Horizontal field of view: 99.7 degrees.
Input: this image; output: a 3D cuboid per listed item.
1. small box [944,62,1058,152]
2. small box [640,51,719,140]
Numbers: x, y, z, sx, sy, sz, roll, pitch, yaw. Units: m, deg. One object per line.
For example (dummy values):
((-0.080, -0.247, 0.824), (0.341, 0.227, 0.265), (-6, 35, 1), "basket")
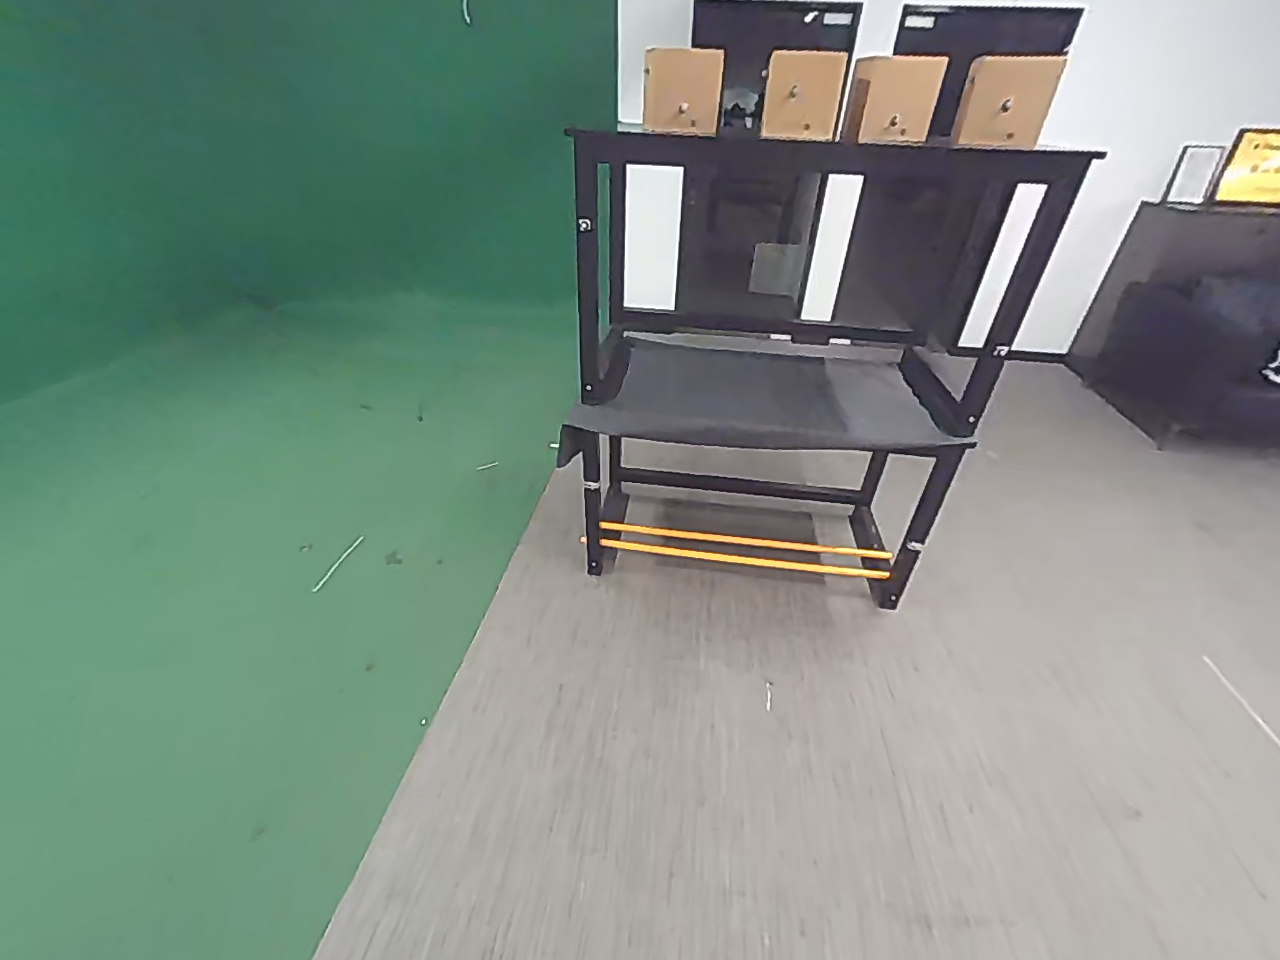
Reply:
((0.850, -0.889, 1.293), (0.168, 0.176, 0.179), (12, 36, 14), "small box")
((0.092, -0.974, 1.375), (0.168, 0.176, 0.179), (-3, 36, -8), "small box")
